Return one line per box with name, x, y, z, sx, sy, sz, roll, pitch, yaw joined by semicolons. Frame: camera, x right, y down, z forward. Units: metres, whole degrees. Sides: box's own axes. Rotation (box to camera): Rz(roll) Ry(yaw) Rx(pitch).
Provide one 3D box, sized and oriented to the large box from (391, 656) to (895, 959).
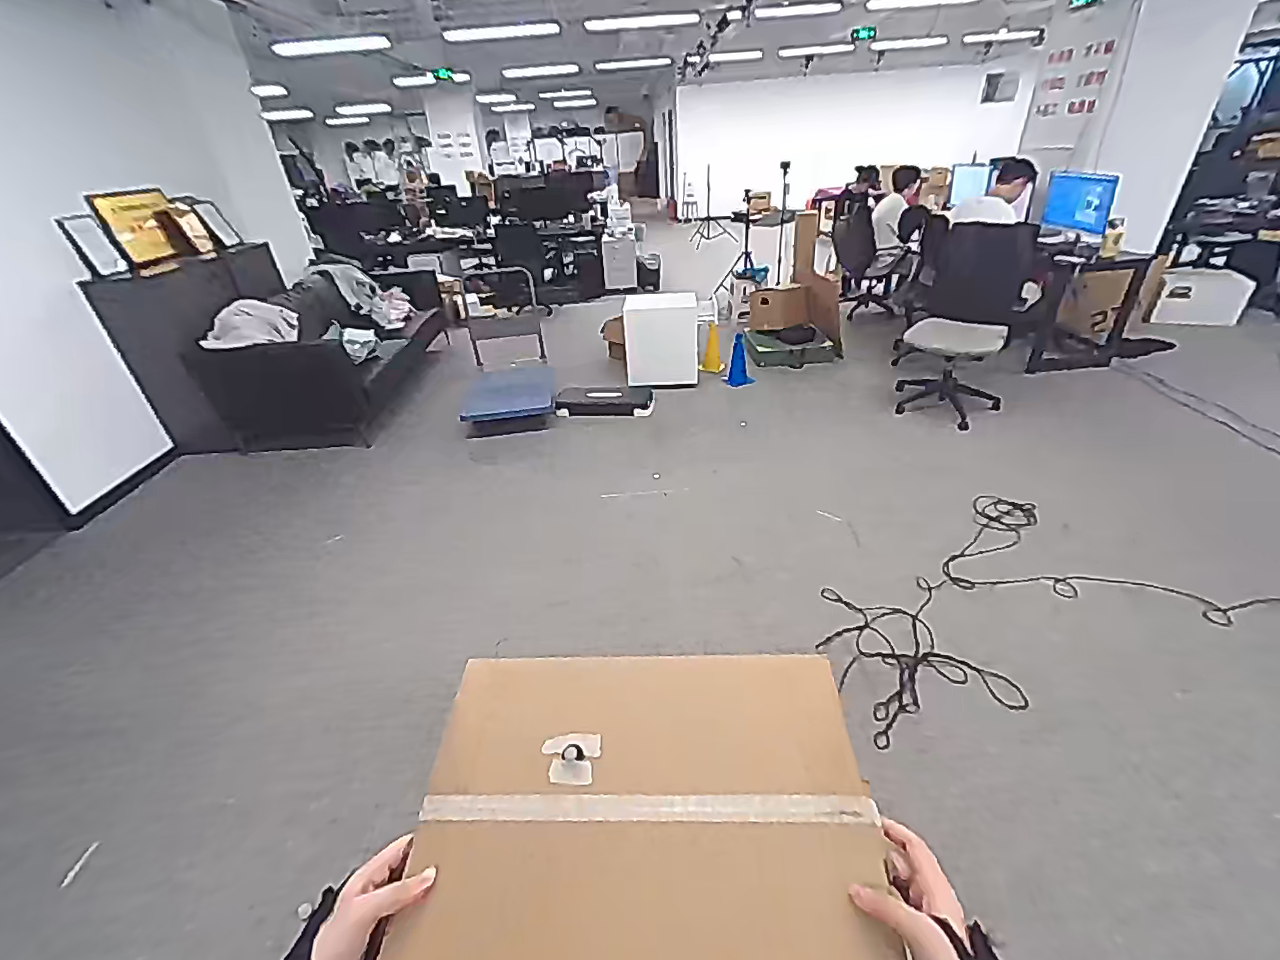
large box;0.014;0.420;0.594;0.408;0.320;0.320;-4;40;6
